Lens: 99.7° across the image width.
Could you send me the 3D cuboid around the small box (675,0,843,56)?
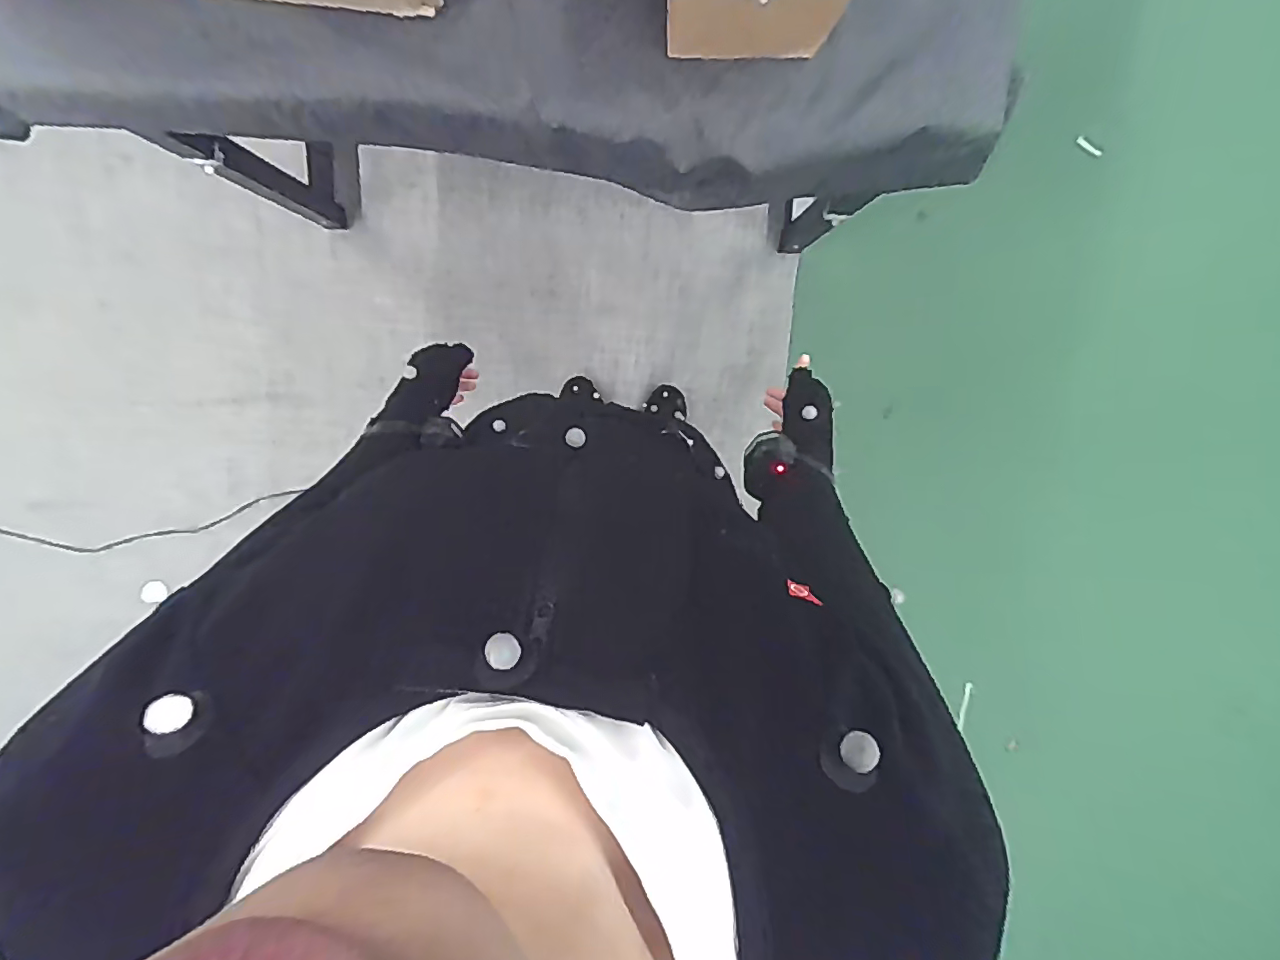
[{"bbox_3d":[0.128,-0.568,0.548,0.179,0.176,0.168,-1,102,-2],"label":"small box"}]
